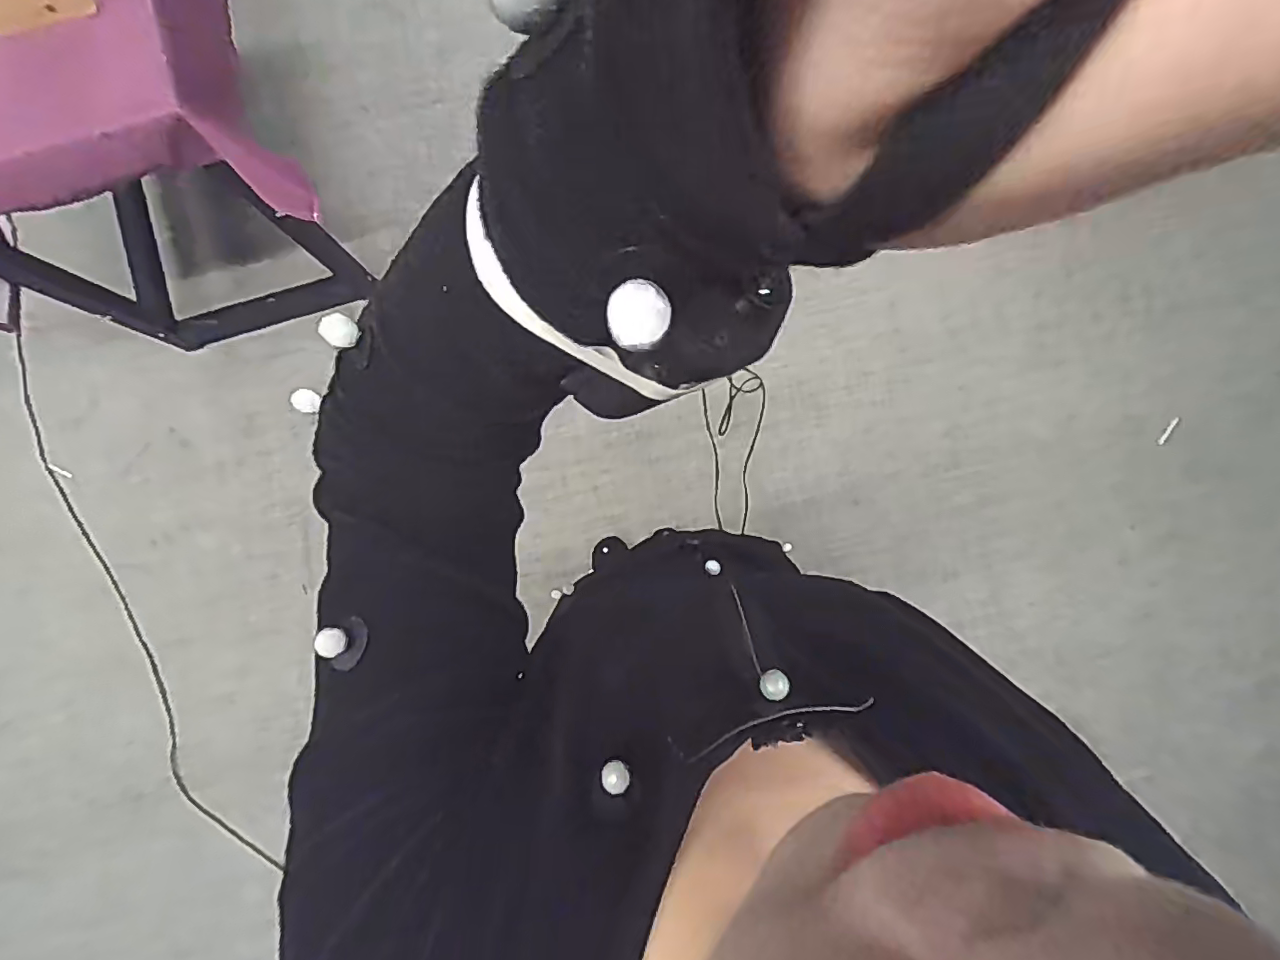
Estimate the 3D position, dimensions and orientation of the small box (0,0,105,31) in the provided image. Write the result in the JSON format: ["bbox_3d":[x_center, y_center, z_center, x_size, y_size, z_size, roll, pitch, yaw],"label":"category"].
[{"bbox_3d":[-0.939,-0.811,0.779,0.168,0.176,0.179,-15,85,-1],"label":"small box"}]
